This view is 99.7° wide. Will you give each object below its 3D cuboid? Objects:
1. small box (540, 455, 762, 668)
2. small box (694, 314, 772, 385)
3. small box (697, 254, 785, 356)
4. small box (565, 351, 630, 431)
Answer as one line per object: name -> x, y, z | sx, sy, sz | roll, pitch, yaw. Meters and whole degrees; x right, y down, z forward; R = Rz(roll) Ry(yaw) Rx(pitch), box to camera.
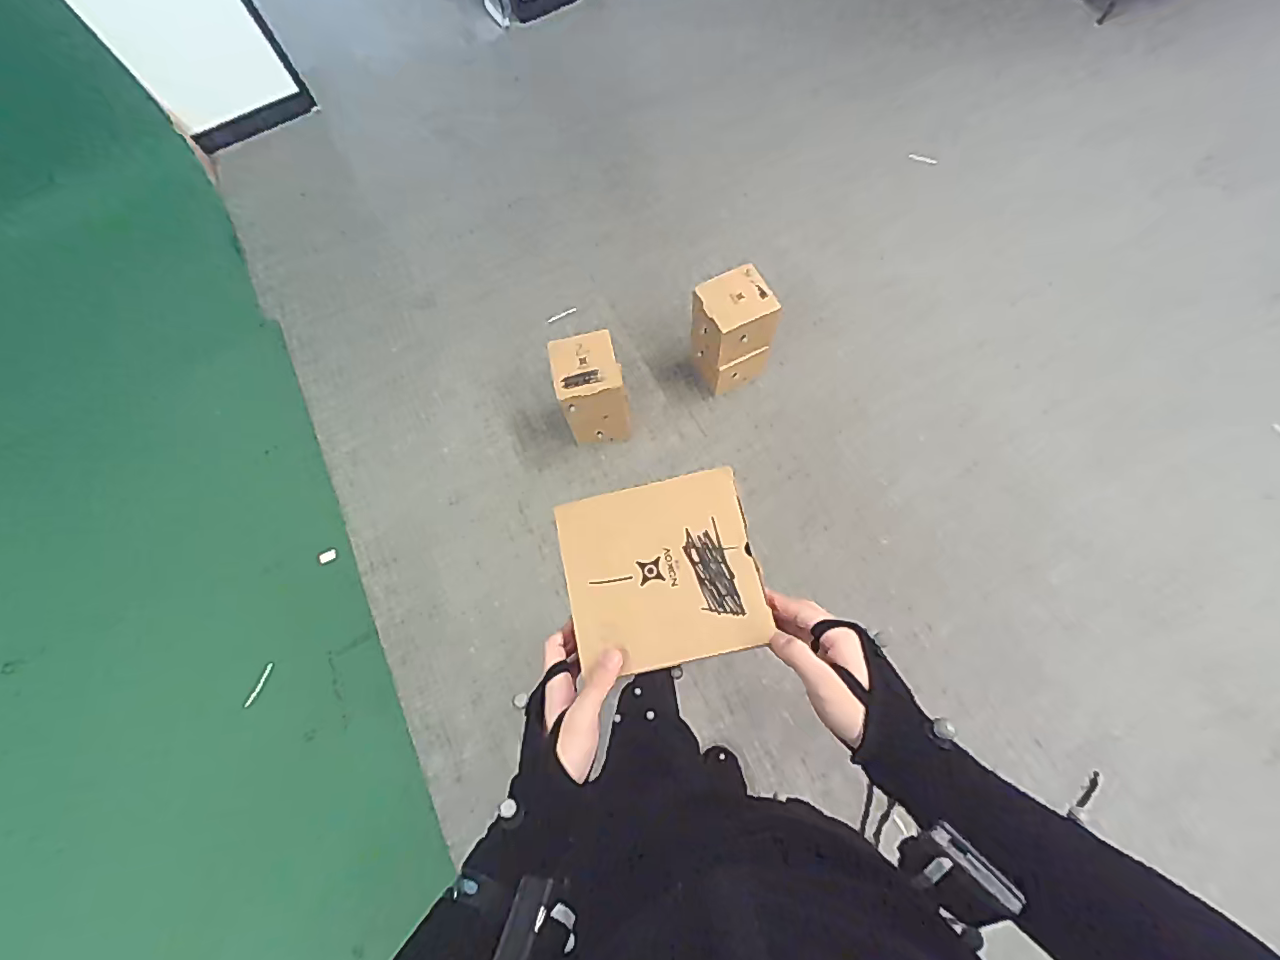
small box -> 0.012, 0.088, 0.551 | 0.179, 0.176, 0.168 | -11, 74, 3
small box -> 0.271, -0.406, 1.610 | 0.168, 0.176, 0.179 | -25, 72, -5
small box -> 0.265, -0.464, 1.456 | 0.179, 0.176, 0.168 | -23, 72, -4
small box -> -0.121, -0.251, 1.578 | 0.168, 0.176, 0.179 | -5, 71, 1
